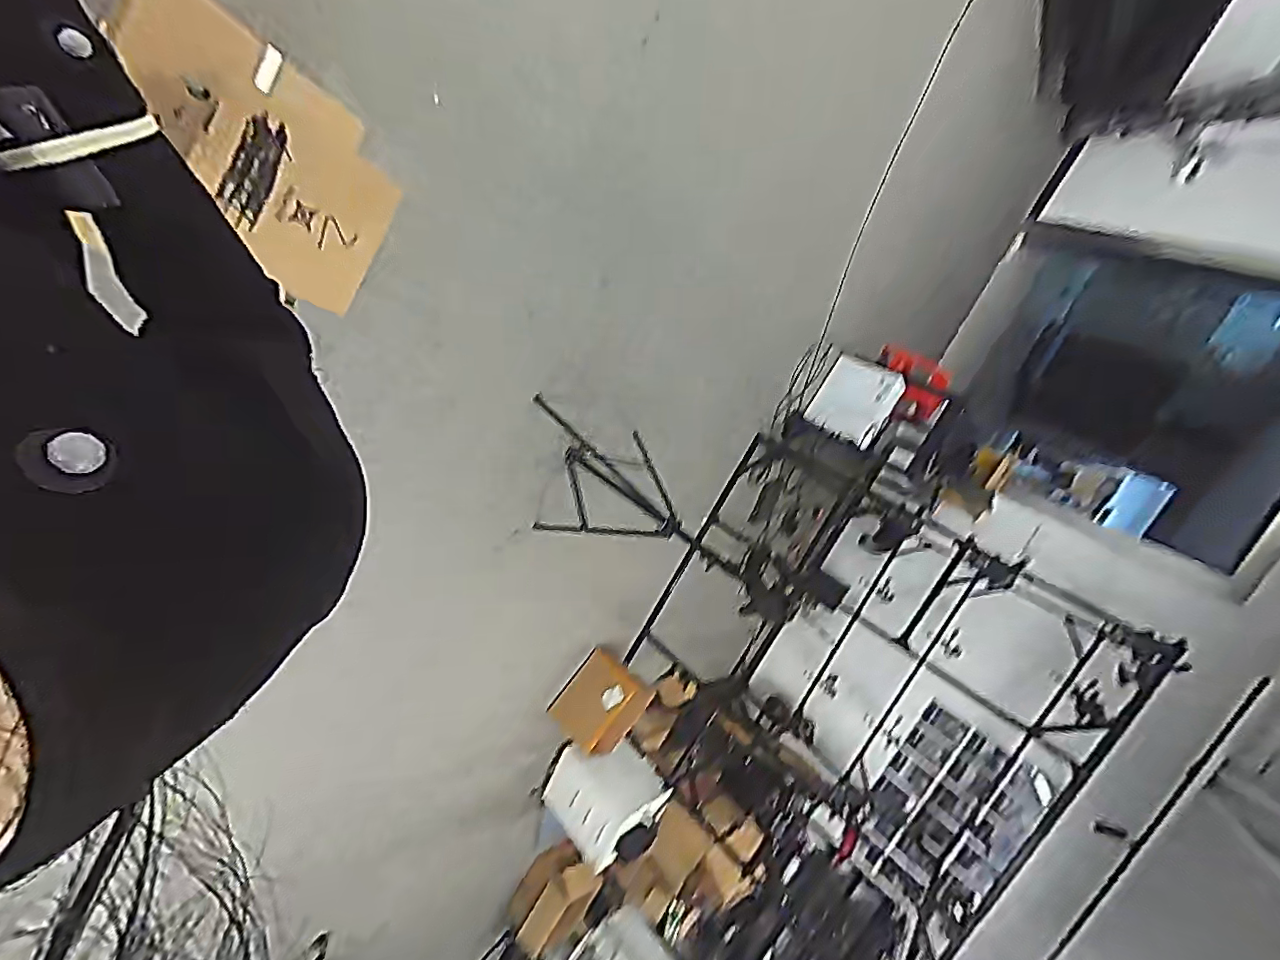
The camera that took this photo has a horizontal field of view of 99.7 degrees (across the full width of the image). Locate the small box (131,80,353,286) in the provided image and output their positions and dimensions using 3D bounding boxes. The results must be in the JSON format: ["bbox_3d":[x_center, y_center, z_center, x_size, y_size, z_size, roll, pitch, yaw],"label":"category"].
[{"bbox_3d":[-0.524,-0.389,0.713,0.179,0.176,0.168,21,101,-52],"label":"small box"}]
